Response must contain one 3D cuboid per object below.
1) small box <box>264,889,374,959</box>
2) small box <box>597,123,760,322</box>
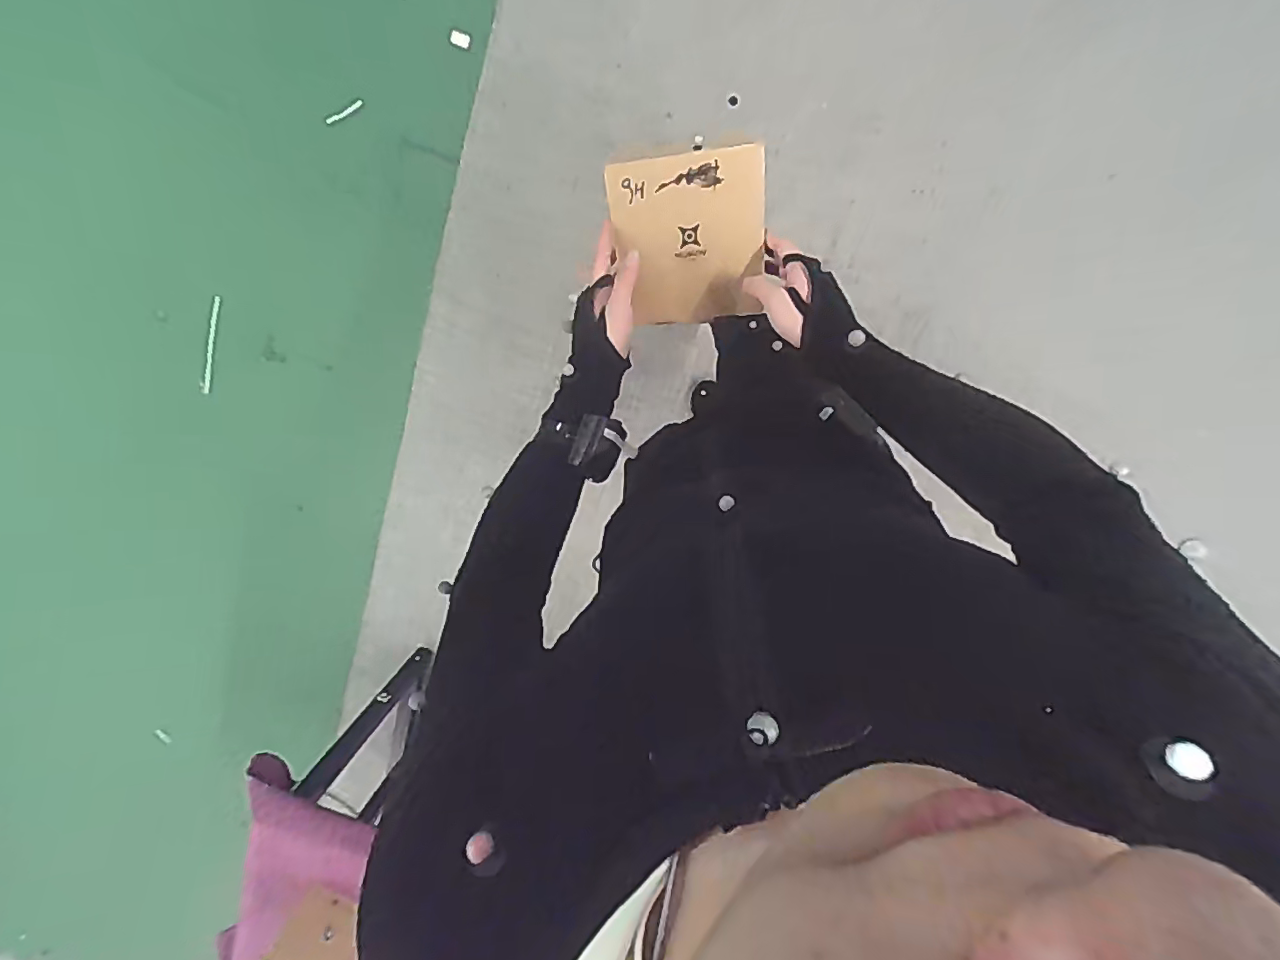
[{"bbox_3d":[-0.712,1.042,1.167,0.168,0.176,0.179,29,106,-2],"label":"small box"},{"bbox_3d":[0.049,-0.311,0.651,0.168,0.176,0.179,-5,126,6],"label":"small box"}]
